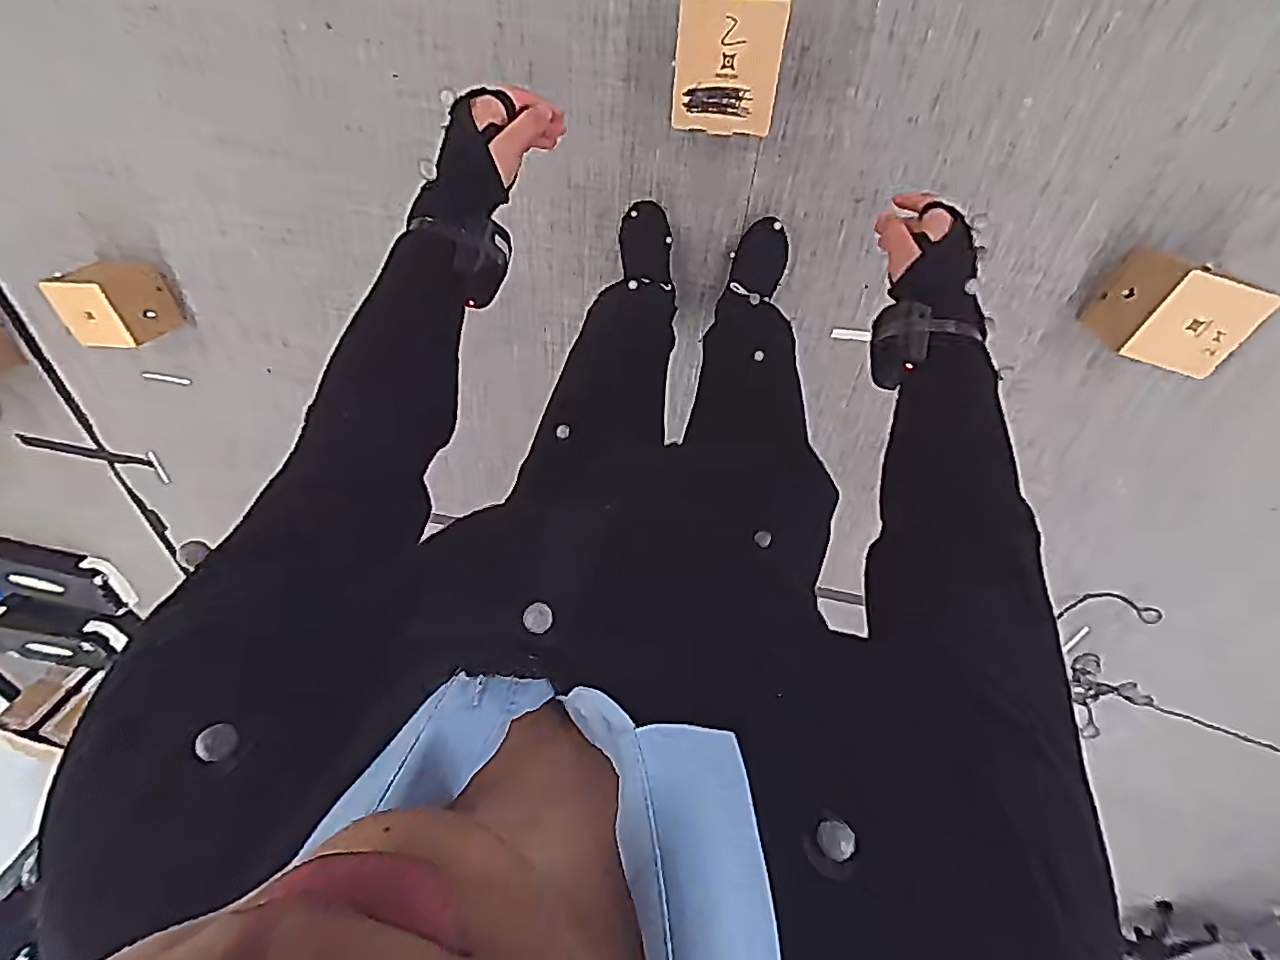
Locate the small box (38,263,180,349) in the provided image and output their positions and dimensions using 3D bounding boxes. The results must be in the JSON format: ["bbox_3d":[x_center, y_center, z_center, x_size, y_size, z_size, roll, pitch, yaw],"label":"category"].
[{"bbox_3d":[-1.353,-0.453,1.400,0.179,0.176,0.168,4,128,9],"label":"small box"}]

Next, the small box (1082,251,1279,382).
[{"bbox_3d":[1.011,-0.318,1.031,0.179,0.176,0.168,17,130,-2],"label":"small box"}]
